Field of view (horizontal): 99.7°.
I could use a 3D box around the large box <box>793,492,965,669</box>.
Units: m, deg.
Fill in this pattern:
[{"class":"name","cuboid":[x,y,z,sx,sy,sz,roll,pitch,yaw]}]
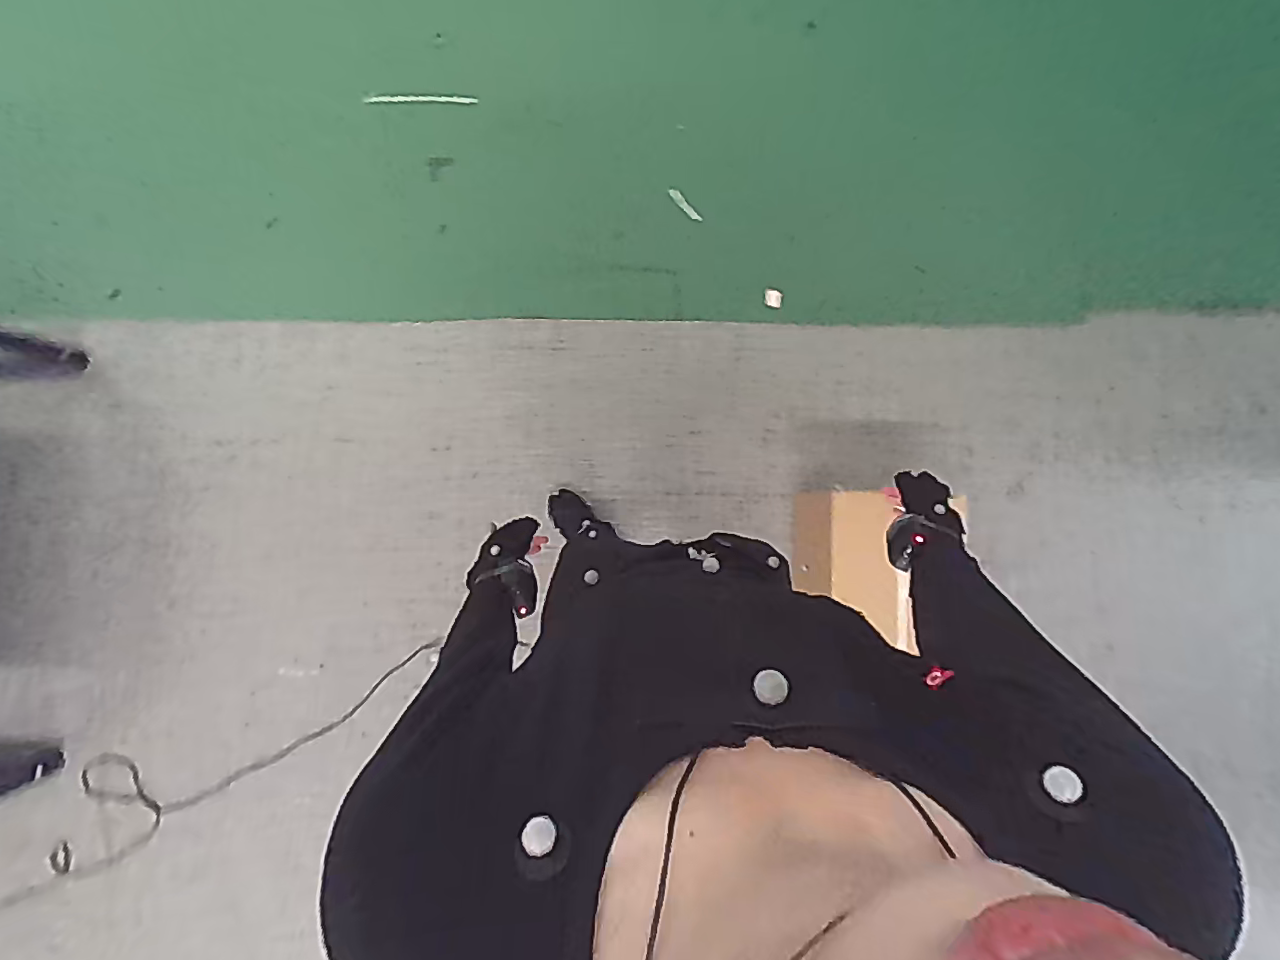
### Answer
[{"class":"large box","cuboid":[0.583,0.240,1.379,0.320,0.320,0.408,2,86,-1]}]
